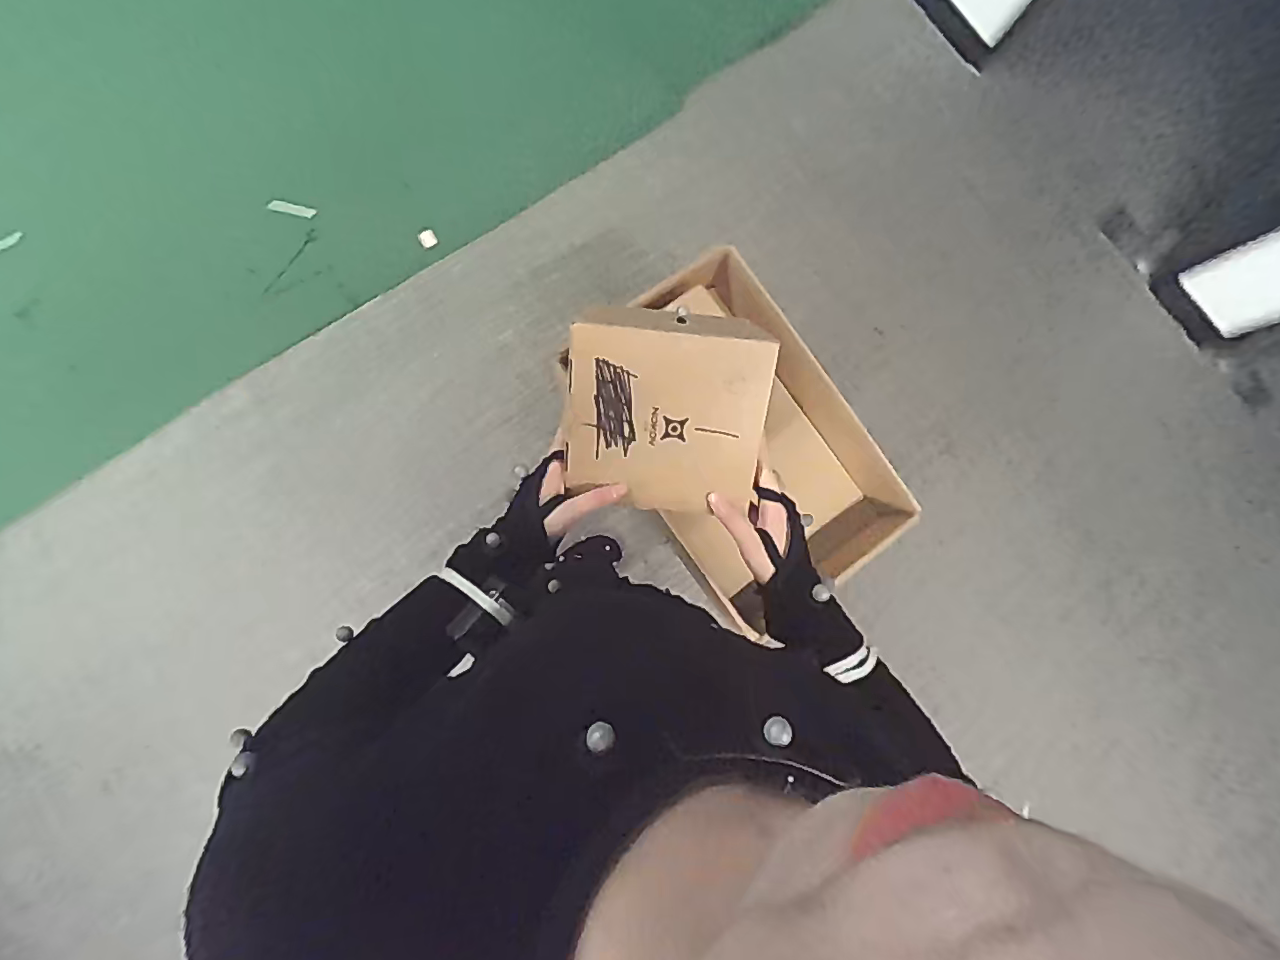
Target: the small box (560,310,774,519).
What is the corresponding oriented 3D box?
[{"bbox_3d":[0.019,-0.076,0.547,0.179,0.176,0.168,4,113,-1],"label":"small box"}]
